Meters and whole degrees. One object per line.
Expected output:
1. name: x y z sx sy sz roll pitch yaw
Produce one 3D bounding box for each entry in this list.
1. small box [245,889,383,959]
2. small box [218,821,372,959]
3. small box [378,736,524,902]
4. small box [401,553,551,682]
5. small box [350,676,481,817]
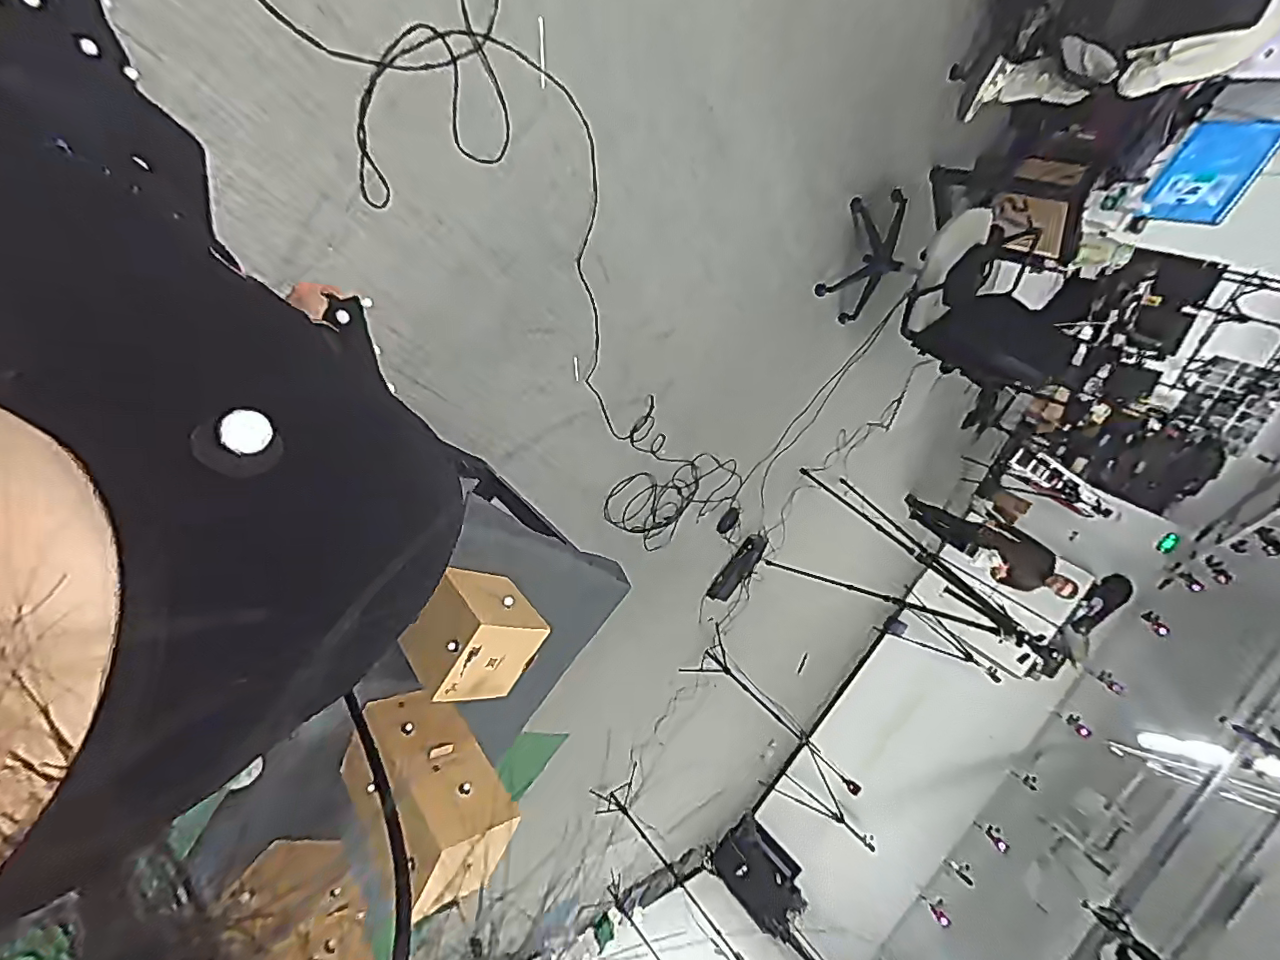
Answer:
1. small box: -0.588 0.884 0.956 0.179 0.176 0.168 -56 145 2
2. small box: -0.680 0.811 1.070 0.168 0.176 0.179 -45 143 -12
3. small box: -0.348 0.595 0.983 0.168 0.176 0.179 12 110 -51
4. small box: -0.309 0.256 1.021 0.168 0.176 0.179 -57 144 6
5. small box: -0.453 0.516 1.082 0.168 0.176 0.179 8 114 -50
